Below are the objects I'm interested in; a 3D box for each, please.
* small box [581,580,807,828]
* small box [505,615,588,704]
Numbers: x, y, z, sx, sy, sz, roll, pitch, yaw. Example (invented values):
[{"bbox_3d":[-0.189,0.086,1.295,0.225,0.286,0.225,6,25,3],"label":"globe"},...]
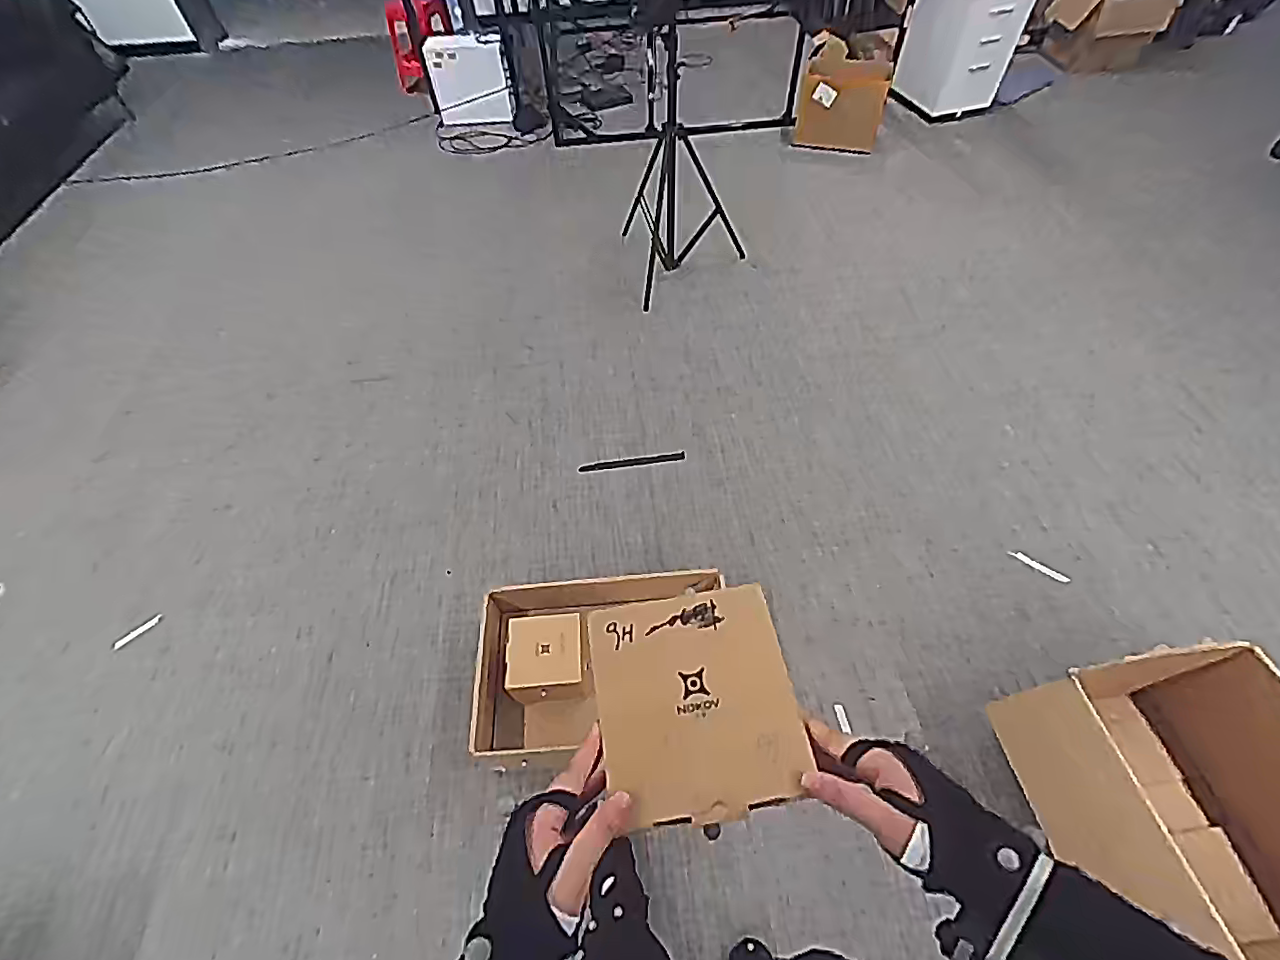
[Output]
[{"bbox_3d":[0.041,0.219,0.525,0.168,0.176,0.179,-9,58,-4],"label":"small box"},{"bbox_3d":[-0.225,0.447,1.337,0.179,0.176,0.168,-5,56,-2],"label":"small box"}]
